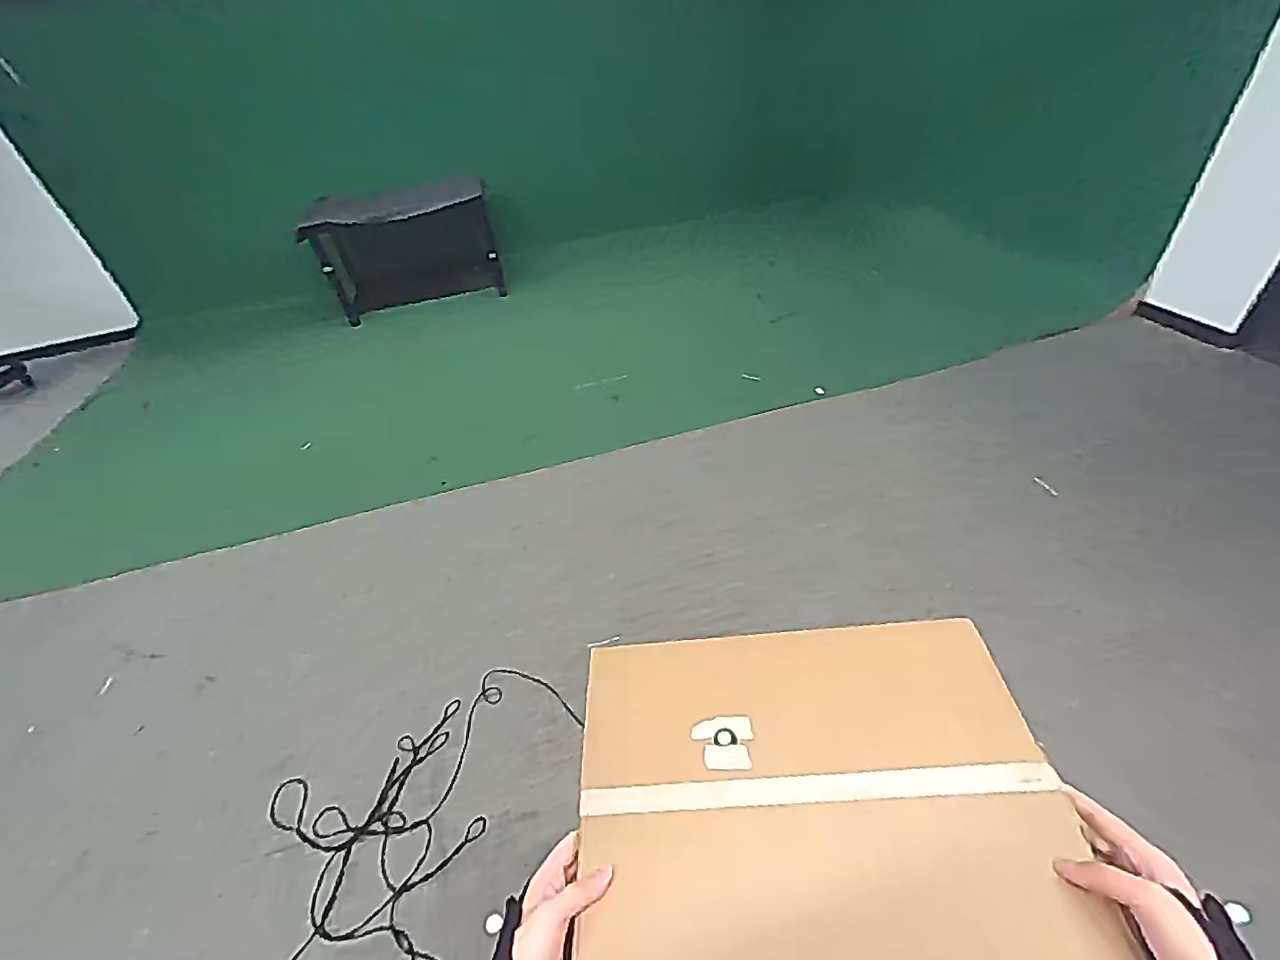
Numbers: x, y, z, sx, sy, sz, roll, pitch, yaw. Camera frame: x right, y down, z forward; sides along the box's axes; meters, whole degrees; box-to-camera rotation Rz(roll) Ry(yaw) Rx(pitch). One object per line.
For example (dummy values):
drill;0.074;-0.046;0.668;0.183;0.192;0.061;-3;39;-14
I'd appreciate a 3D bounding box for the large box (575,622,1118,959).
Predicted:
large box;0.168;0.388;0.588;0.408;0.320;0.320;-8;43;7
